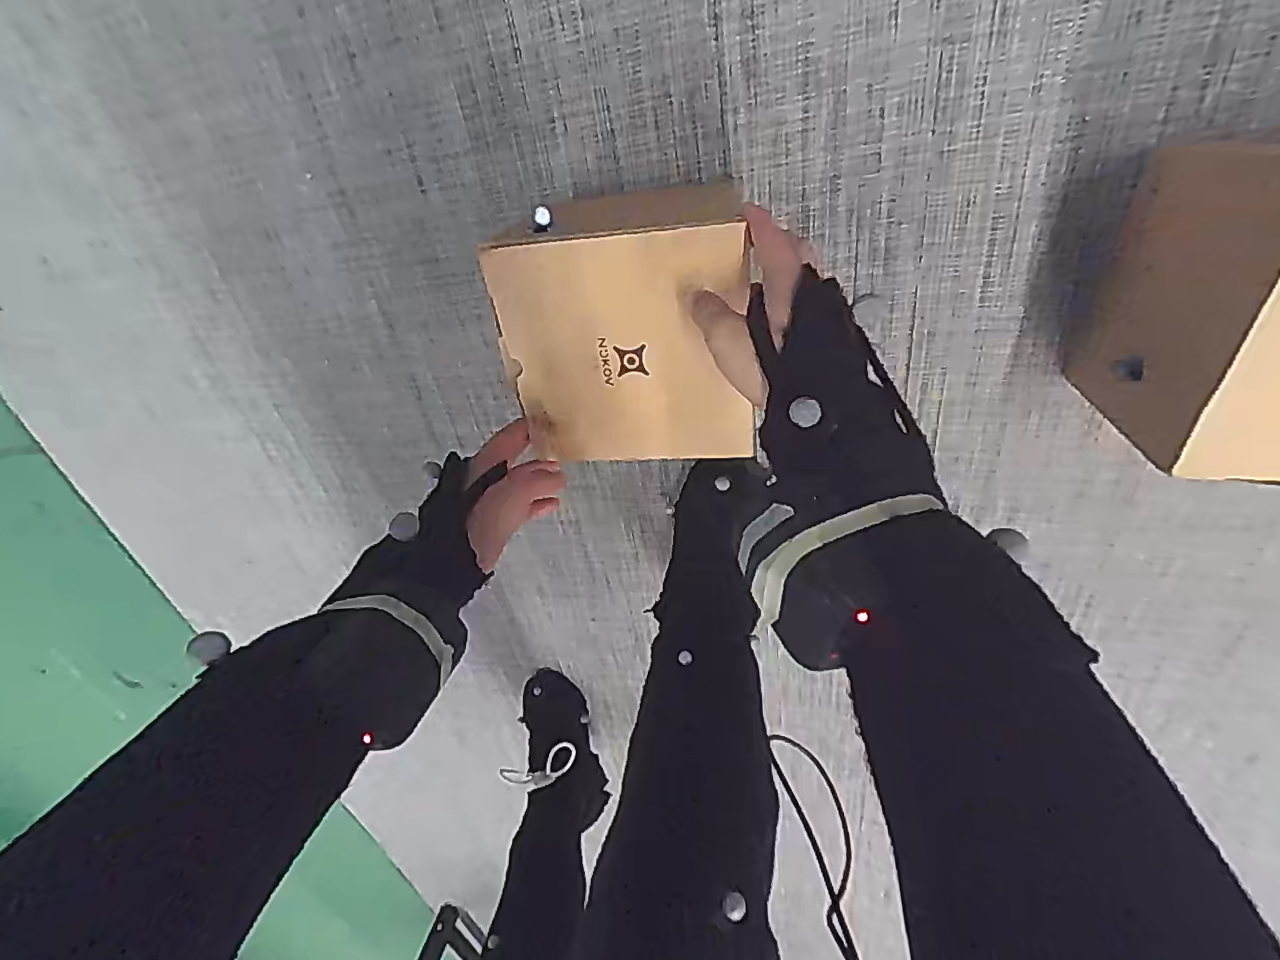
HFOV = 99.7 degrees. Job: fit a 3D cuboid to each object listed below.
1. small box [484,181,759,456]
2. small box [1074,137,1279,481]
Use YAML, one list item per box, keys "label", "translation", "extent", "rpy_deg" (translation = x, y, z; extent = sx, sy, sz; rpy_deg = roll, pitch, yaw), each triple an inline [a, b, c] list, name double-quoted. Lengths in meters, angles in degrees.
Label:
- label: "small box"
  translation: [0.005, -0.134, 0.439]
  extent: [0.179, 0.176, 0.168]
  rpy_deg: [0, 125, 12]
- label: "small box"
  translation: [0.420, -0.114, 0.342]
  extent: [0.168, 0.176, 0.179]
  rpy_deg: [3, 122, 13]
